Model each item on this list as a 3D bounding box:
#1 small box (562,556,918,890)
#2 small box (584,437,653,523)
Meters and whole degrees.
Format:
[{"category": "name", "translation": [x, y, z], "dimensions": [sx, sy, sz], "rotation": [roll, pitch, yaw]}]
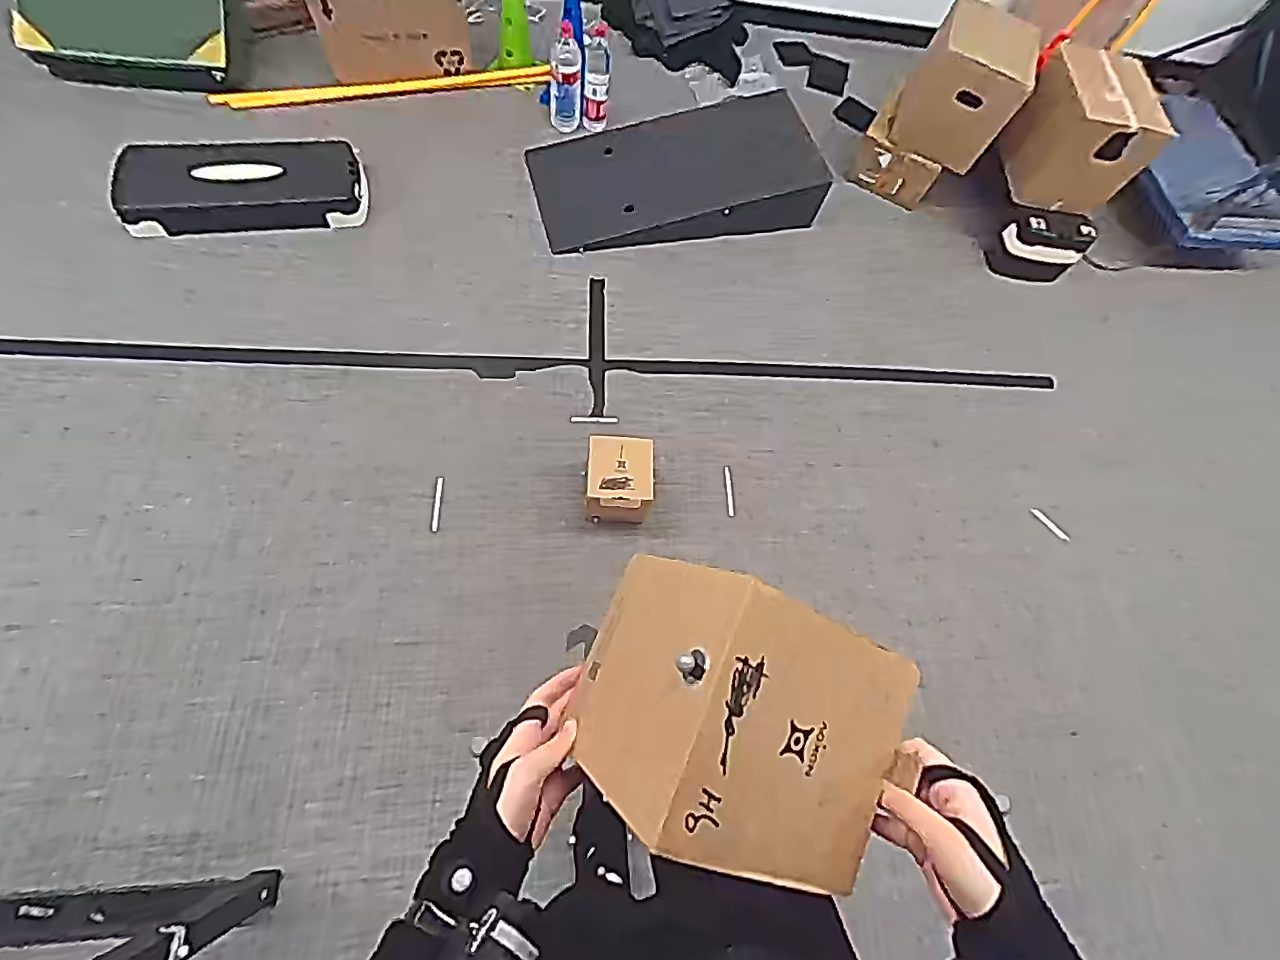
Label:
[{"category": "small box", "translation": [0.070, 0.167, 0.417], "dimensions": [0.179, 0.176, 0.168], "rotation": [31, 74, -24]}, {"category": "small box", "translation": [-0.060, 0.005, 1.423], "dimensions": [0.168, 0.176, 0.179], "rotation": [4, 66, -8]}]
